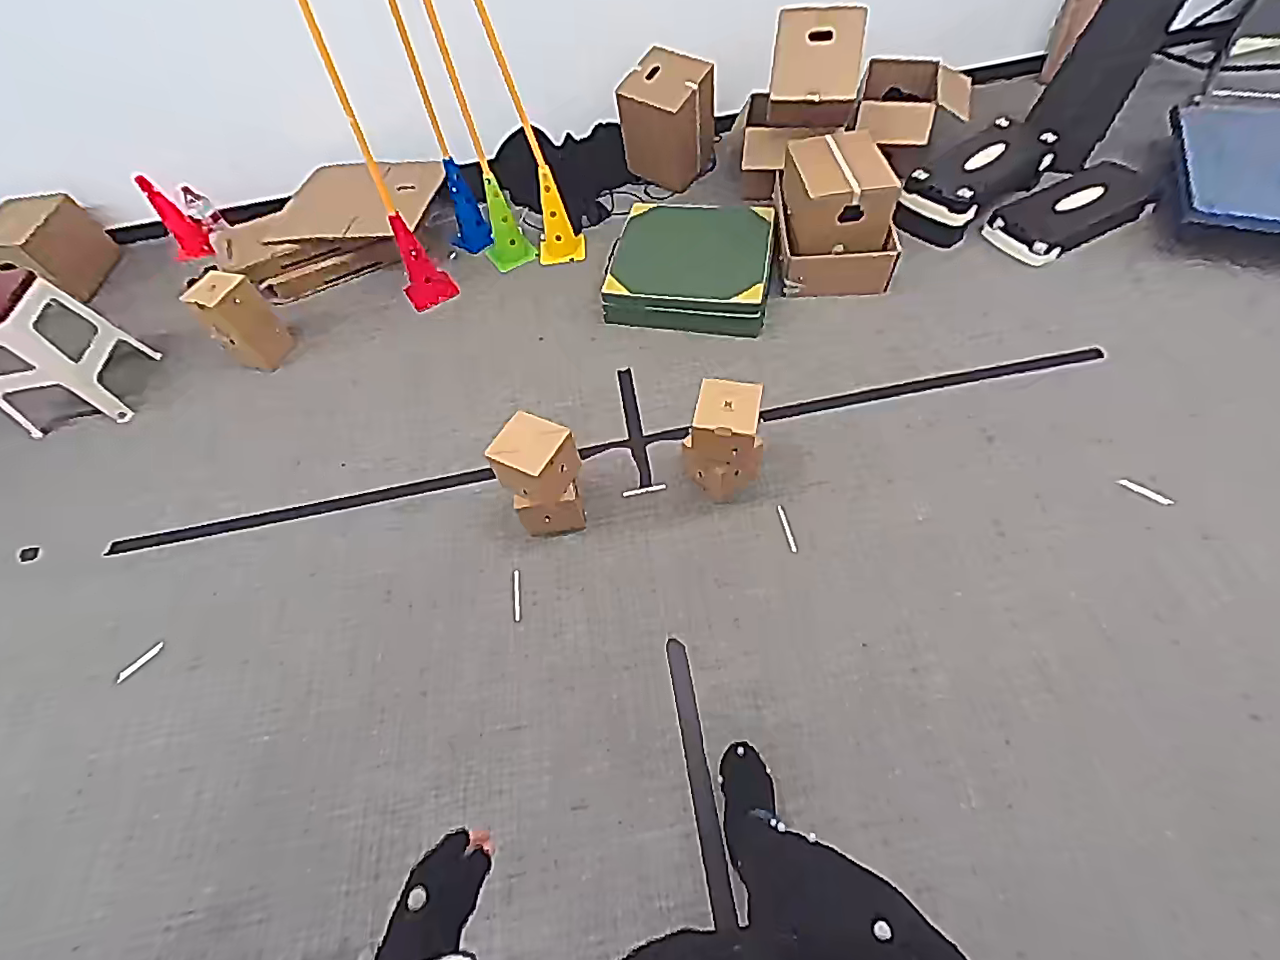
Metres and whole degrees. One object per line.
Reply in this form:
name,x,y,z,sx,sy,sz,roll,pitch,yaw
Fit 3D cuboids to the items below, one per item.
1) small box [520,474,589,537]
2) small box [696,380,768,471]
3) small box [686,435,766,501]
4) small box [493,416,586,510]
small box,-0.251,0.052,1.621,0.179,0.176,0.168,-10,56,2
small box,0.251,-0.147,1.492,0.168,0.176,0.179,10,58,11
small box,0.260,-0.067,1.637,0.179,0.176,0.168,-39,61,-18
small box,-0.273,-0.048,1.489,0.179,0.176,0.168,19,60,17
